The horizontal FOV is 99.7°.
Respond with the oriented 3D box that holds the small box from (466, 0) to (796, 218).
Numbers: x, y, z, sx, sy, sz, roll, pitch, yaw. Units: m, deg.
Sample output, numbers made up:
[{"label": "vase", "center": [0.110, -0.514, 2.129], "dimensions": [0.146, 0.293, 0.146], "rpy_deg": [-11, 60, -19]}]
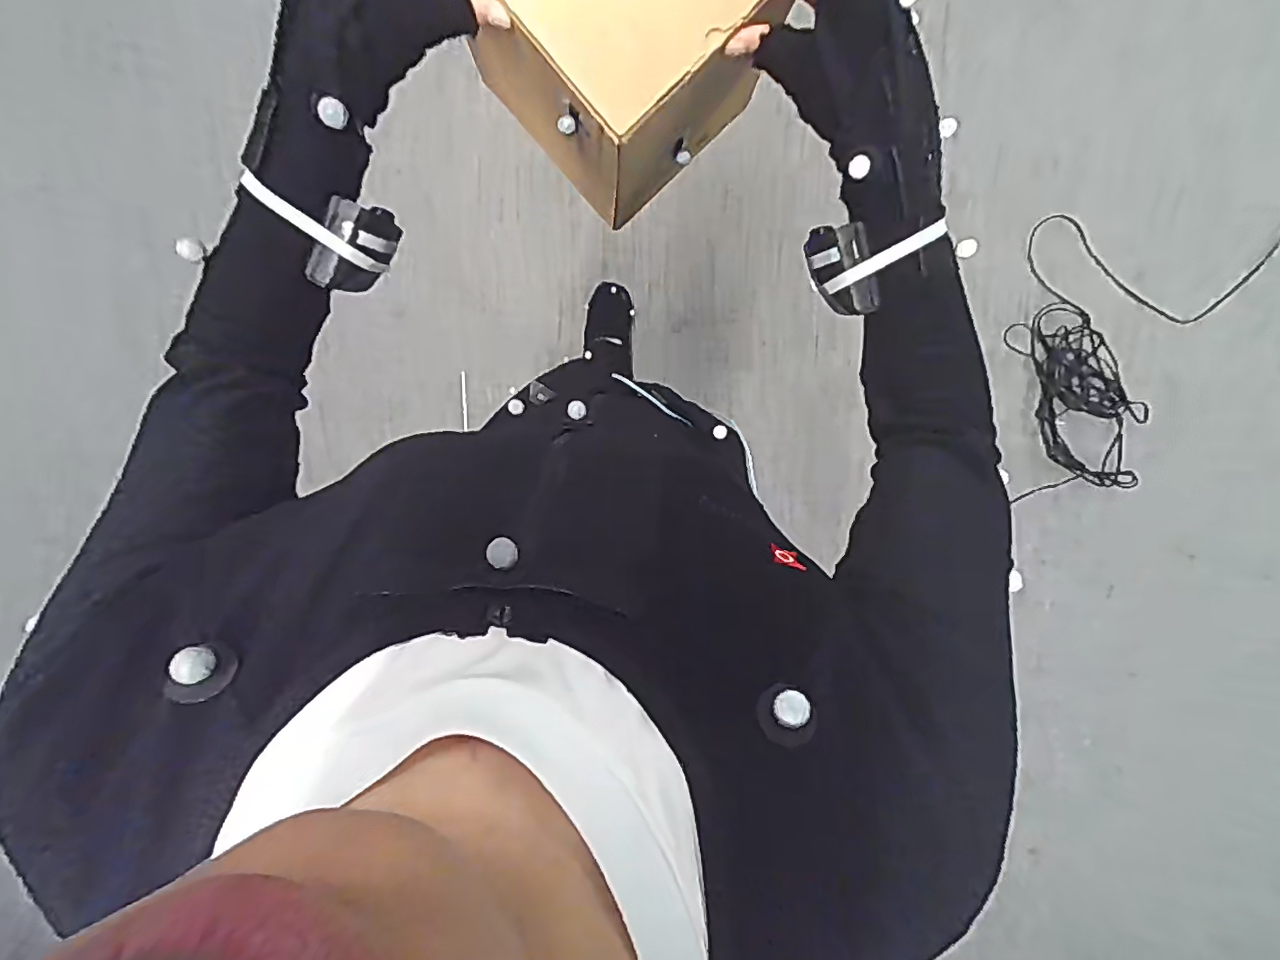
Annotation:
[{"label": "small box", "center": [-0.016, -0.339, 0.405], "dimensions": [0.168, 0.176, 0.179], "rpy_deg": [-42, 99, 1]}]
